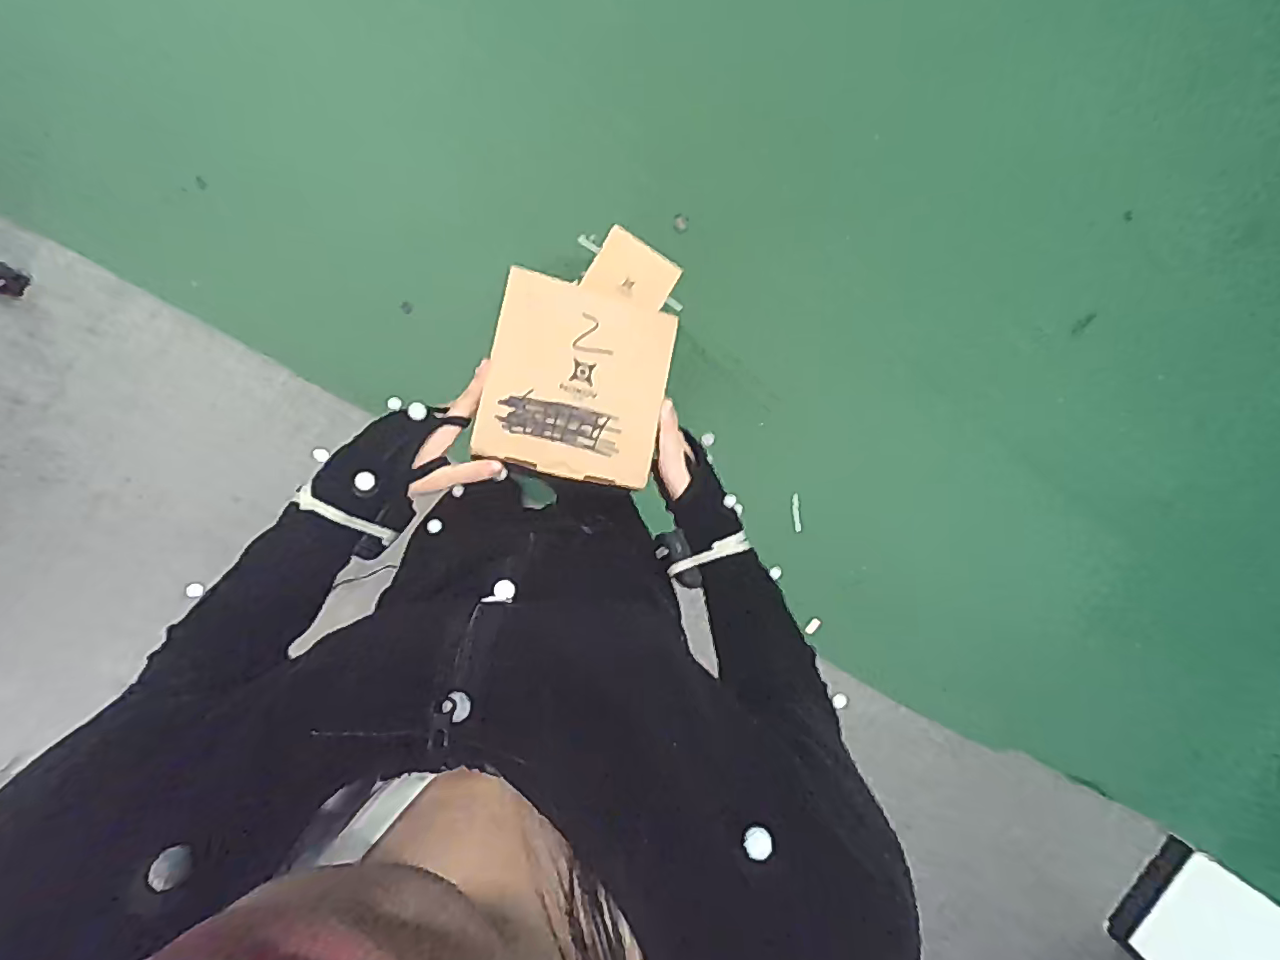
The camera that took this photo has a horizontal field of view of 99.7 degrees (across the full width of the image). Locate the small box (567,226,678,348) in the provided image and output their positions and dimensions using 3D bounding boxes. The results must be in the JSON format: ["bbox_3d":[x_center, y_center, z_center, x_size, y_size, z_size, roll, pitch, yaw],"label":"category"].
[{"bbox_3d":[-0.048,-0.401,1.157,0.168,0.176,0.179,30,94,-14],"label":"small box"}]

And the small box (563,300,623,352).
[{"bbox_3d":[-0.078,-0.430,1.313,0.168,0.176,0.179,31,94,-13],"label":"small box"}]
